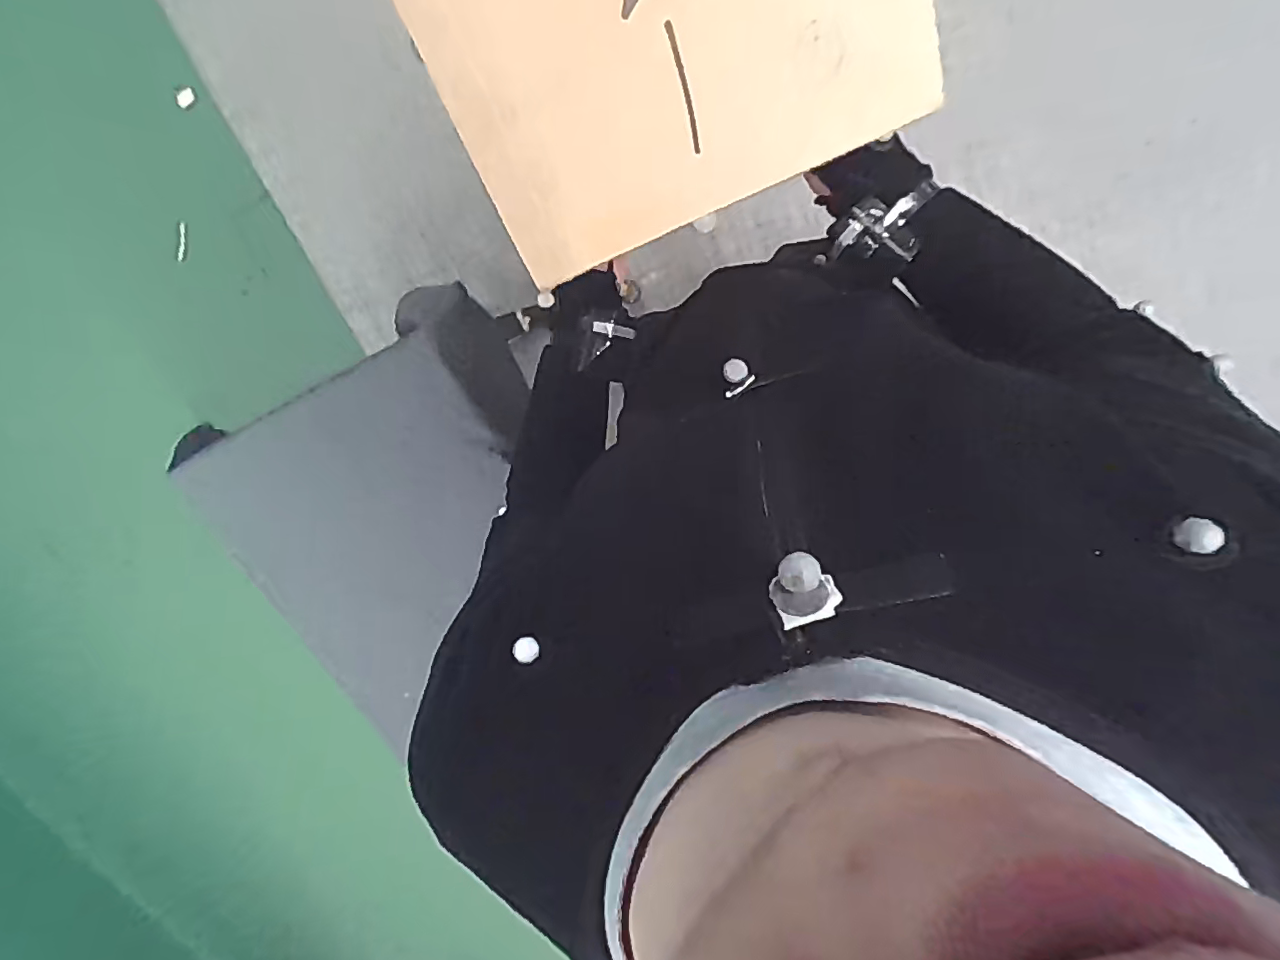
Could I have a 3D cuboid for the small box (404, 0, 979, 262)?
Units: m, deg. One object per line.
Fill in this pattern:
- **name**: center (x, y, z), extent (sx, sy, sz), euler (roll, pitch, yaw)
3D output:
- **small box**: center (0.004, -0.214, 0.221), extent (0.168, 0.176, 0.179), euler (-18, 117, 13)
